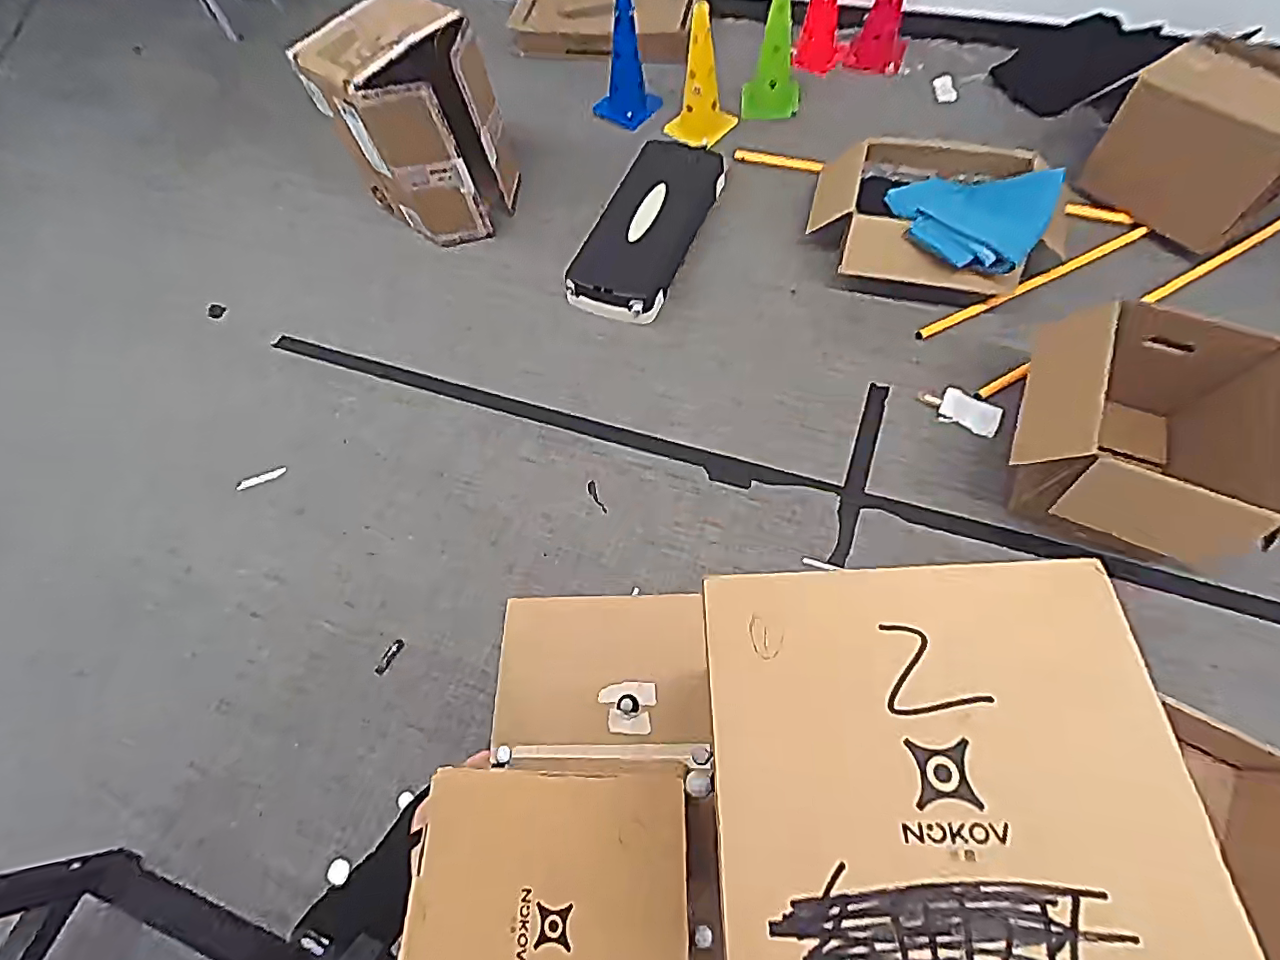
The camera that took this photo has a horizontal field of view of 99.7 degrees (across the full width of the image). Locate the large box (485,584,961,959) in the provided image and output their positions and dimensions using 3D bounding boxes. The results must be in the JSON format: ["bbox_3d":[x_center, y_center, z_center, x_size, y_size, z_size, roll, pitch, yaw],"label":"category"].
[{"bbox_3d":[0.077,0.327,0.646,0.408,0.320,0.320,-4,63,6],"label":"large box"}]

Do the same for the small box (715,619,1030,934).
[{"bbox_3d":[0.145,0.215,0.417,0.168,0.176,0.179,-5,64,7],"label":"small box"}]
